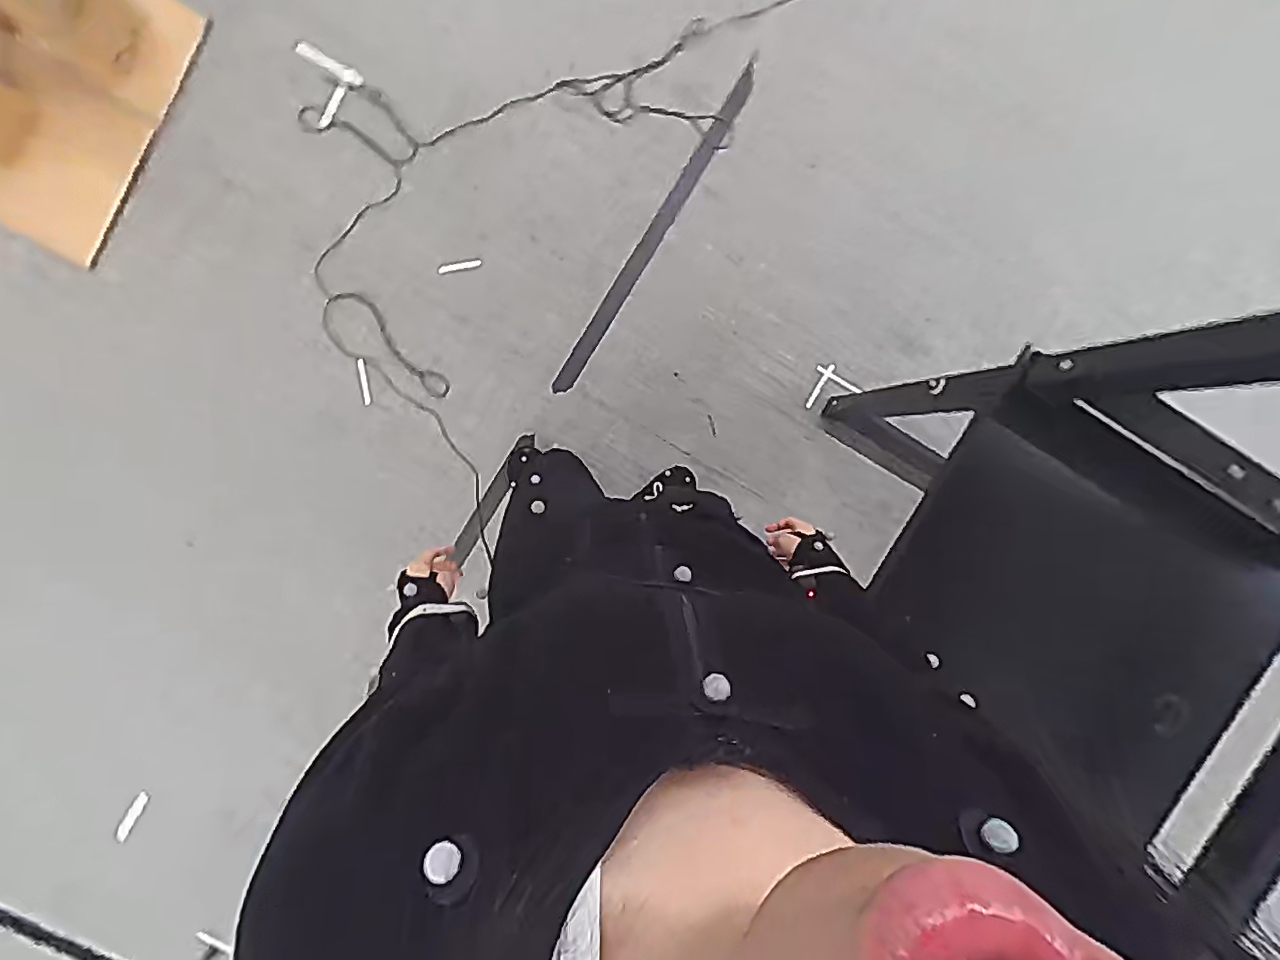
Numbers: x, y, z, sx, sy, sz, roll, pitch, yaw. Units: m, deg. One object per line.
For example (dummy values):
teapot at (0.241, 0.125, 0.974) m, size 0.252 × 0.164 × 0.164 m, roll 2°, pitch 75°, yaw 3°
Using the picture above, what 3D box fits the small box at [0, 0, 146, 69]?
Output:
small box at (-1.300, -1.094, 1.233) m, size 0.179 × 0.176 × 0.168 m, roll 25°, pitch 93°, yaw -5°
